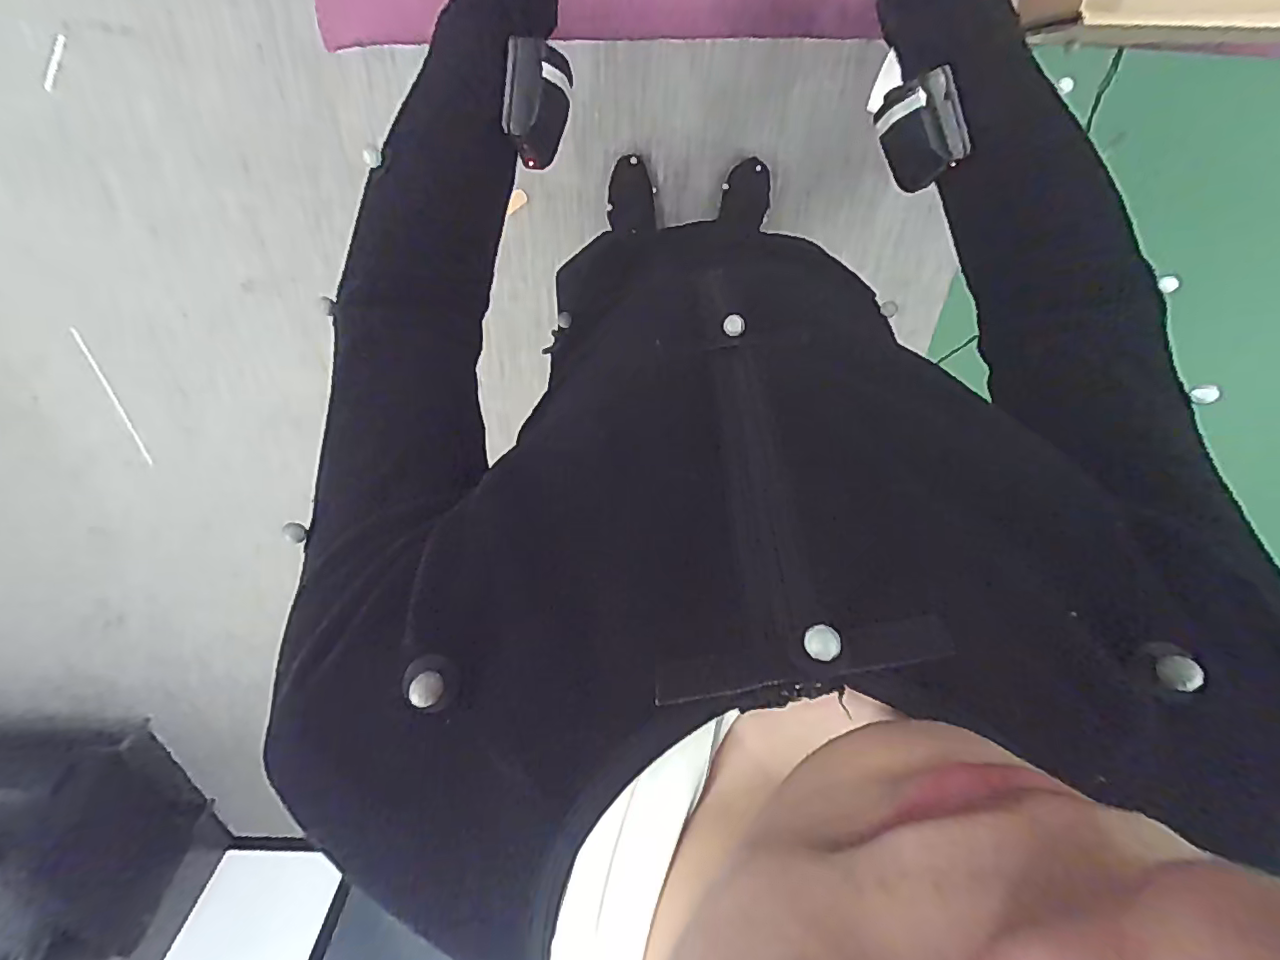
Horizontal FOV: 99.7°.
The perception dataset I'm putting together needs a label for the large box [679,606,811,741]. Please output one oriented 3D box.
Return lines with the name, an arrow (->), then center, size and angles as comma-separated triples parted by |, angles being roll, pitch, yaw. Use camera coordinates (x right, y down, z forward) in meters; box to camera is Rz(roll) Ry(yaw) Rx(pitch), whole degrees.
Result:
large box -> 0.409, 0.777, 2.176 | 0.408, 0.320, 0.320 | -26, 120, 16
